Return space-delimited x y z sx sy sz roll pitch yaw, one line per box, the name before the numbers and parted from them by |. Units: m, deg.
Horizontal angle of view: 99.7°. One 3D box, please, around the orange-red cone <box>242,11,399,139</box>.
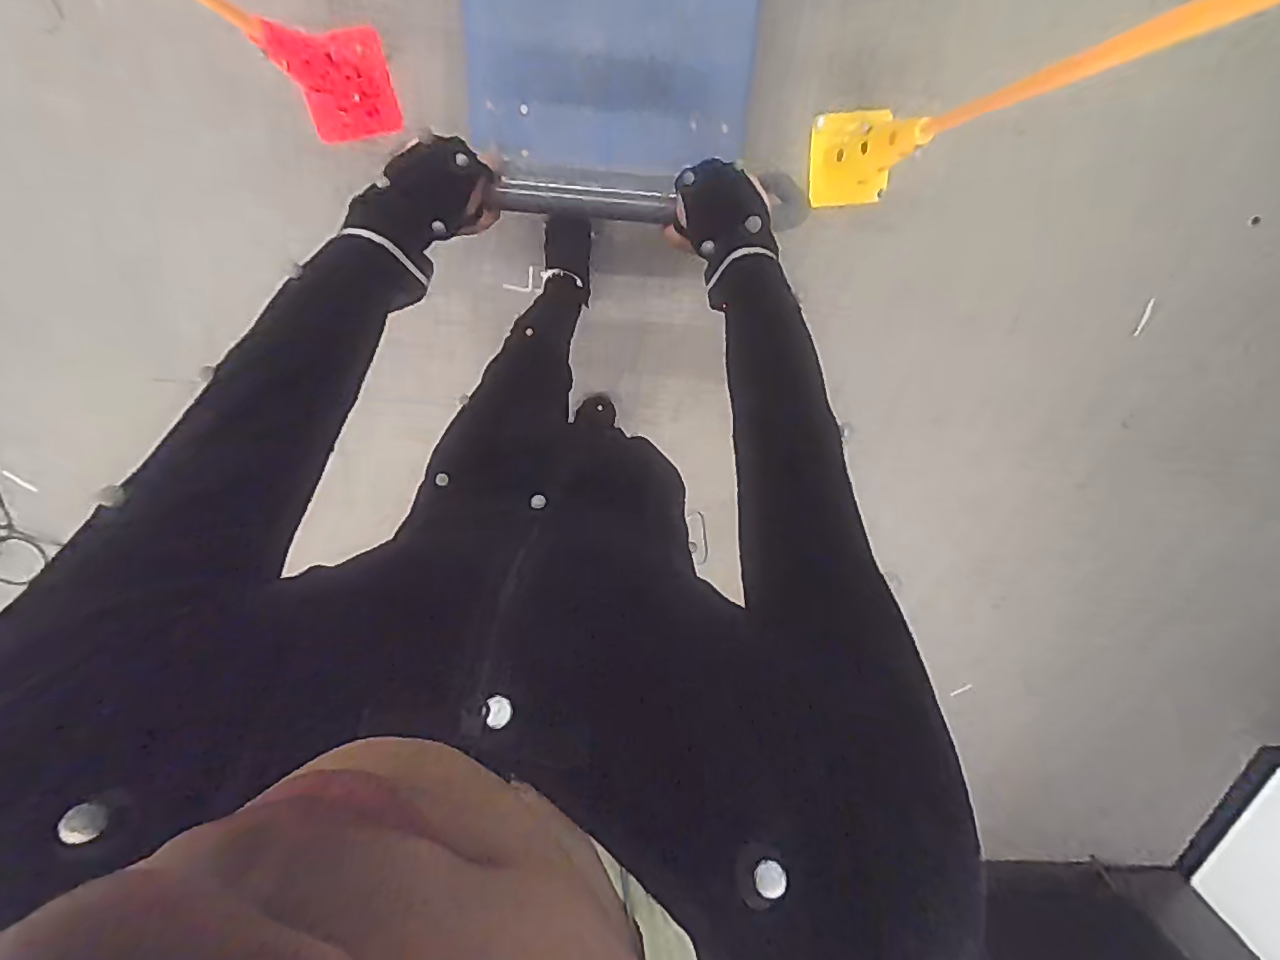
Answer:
orange-red cone | -0.649 -0.820 1.054 0.199 0.360 0.198 -8 113 1
